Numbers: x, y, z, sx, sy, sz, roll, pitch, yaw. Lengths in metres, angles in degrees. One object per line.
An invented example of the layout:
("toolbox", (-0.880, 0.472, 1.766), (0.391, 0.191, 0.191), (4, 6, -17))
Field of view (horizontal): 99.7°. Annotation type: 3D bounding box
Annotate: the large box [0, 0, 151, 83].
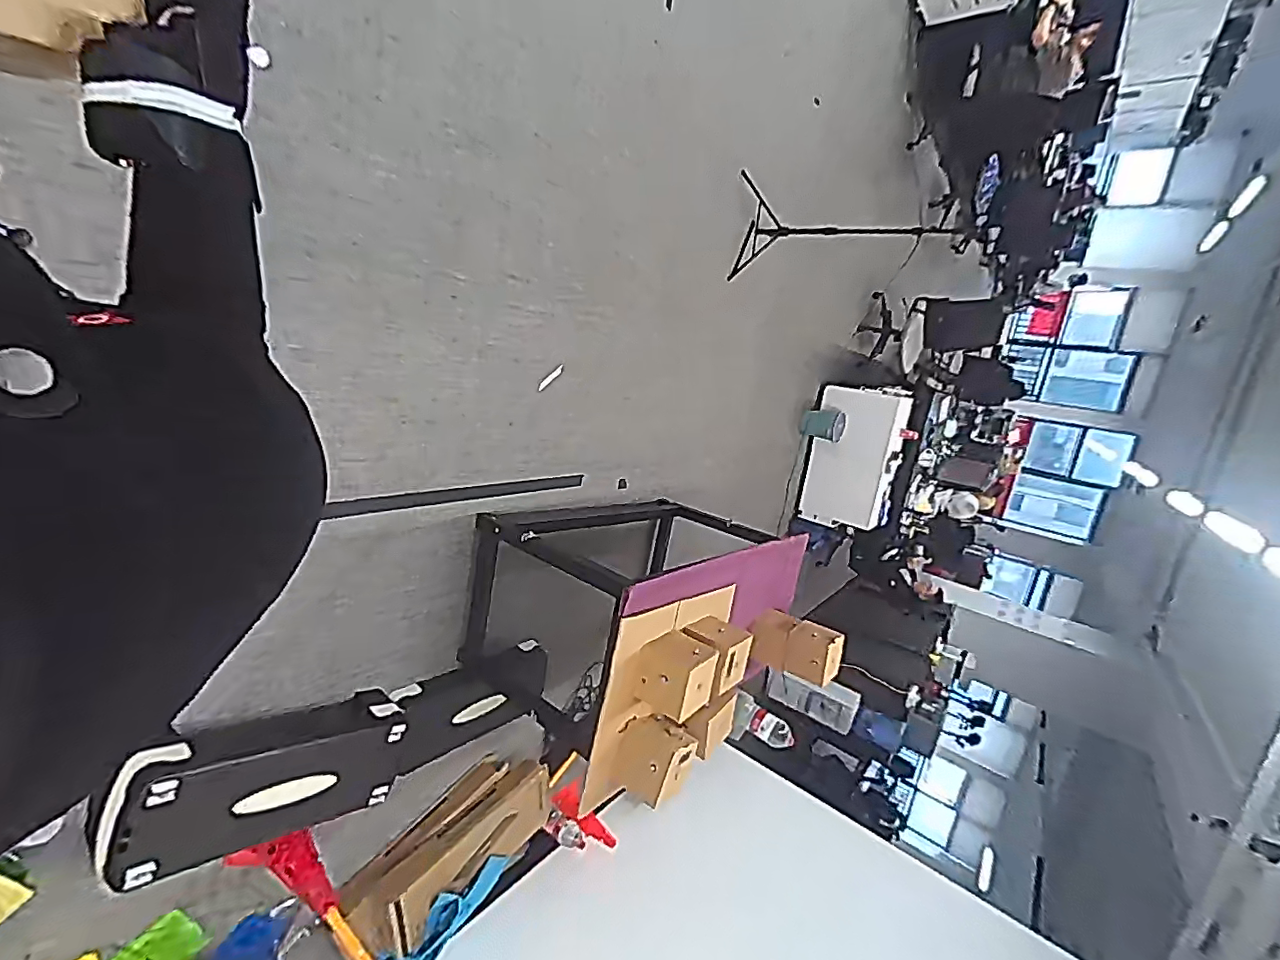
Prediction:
("large box", (-0.542, -0.425, 0.235), (0.408, 0.320, 0.320), (-18, 127, -53))
